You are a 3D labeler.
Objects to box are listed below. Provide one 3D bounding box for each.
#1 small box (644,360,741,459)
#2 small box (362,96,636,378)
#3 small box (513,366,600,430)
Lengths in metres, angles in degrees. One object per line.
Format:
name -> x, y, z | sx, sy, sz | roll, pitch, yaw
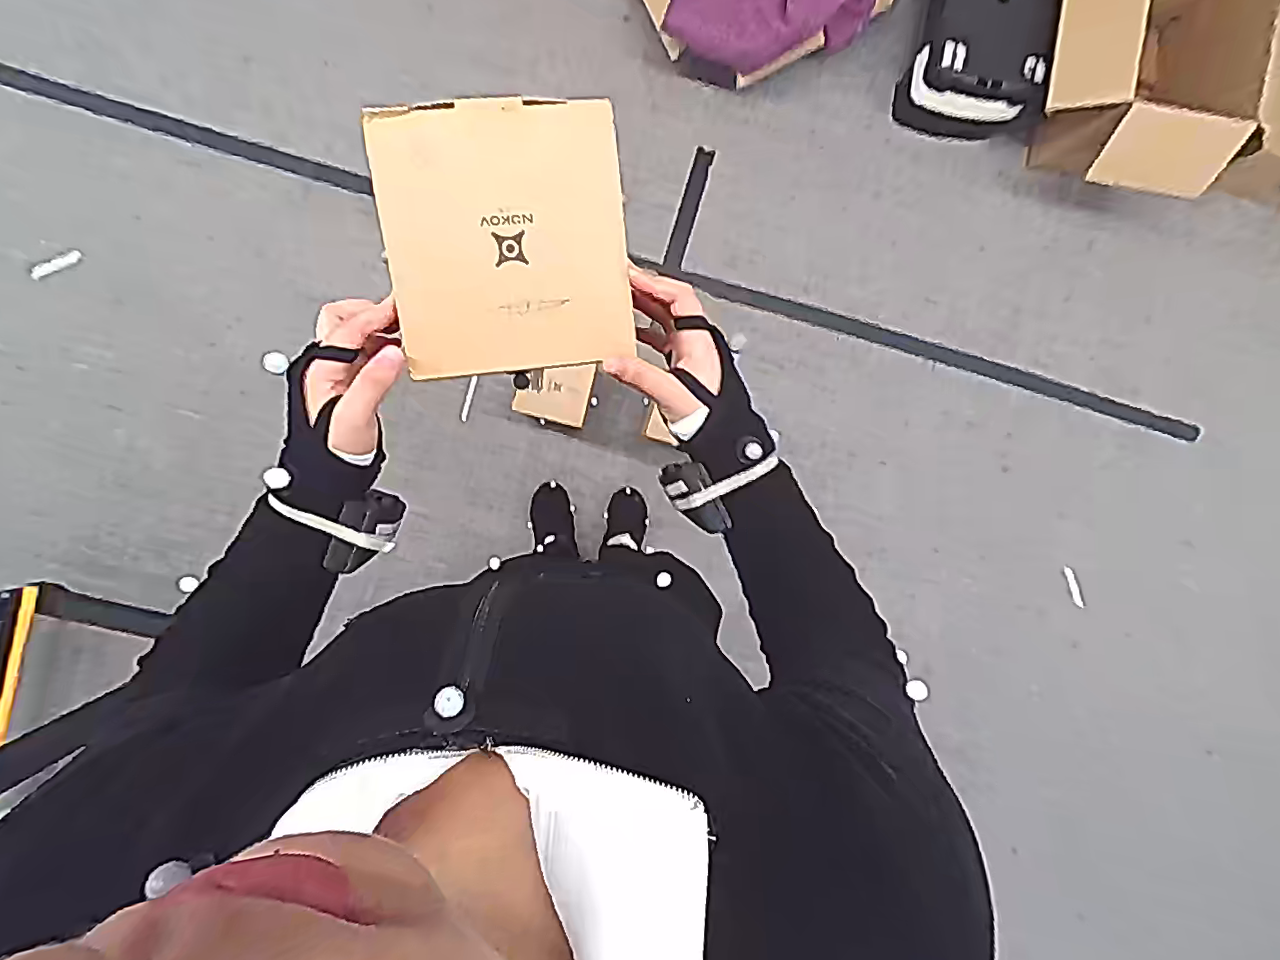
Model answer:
small box -> 0.111, -0.156, 1.241 | 0.168, 0.176, 0.179 | 17, 93, -4
small box -> -0.102, -0.179, 0.447 | 0.168, 0.176, 0.179 | -7, 102, -7
small box -> -0.207, -0.226, 1.386 | 0.179, 0.176, 0.168 | 14, 93, -4
